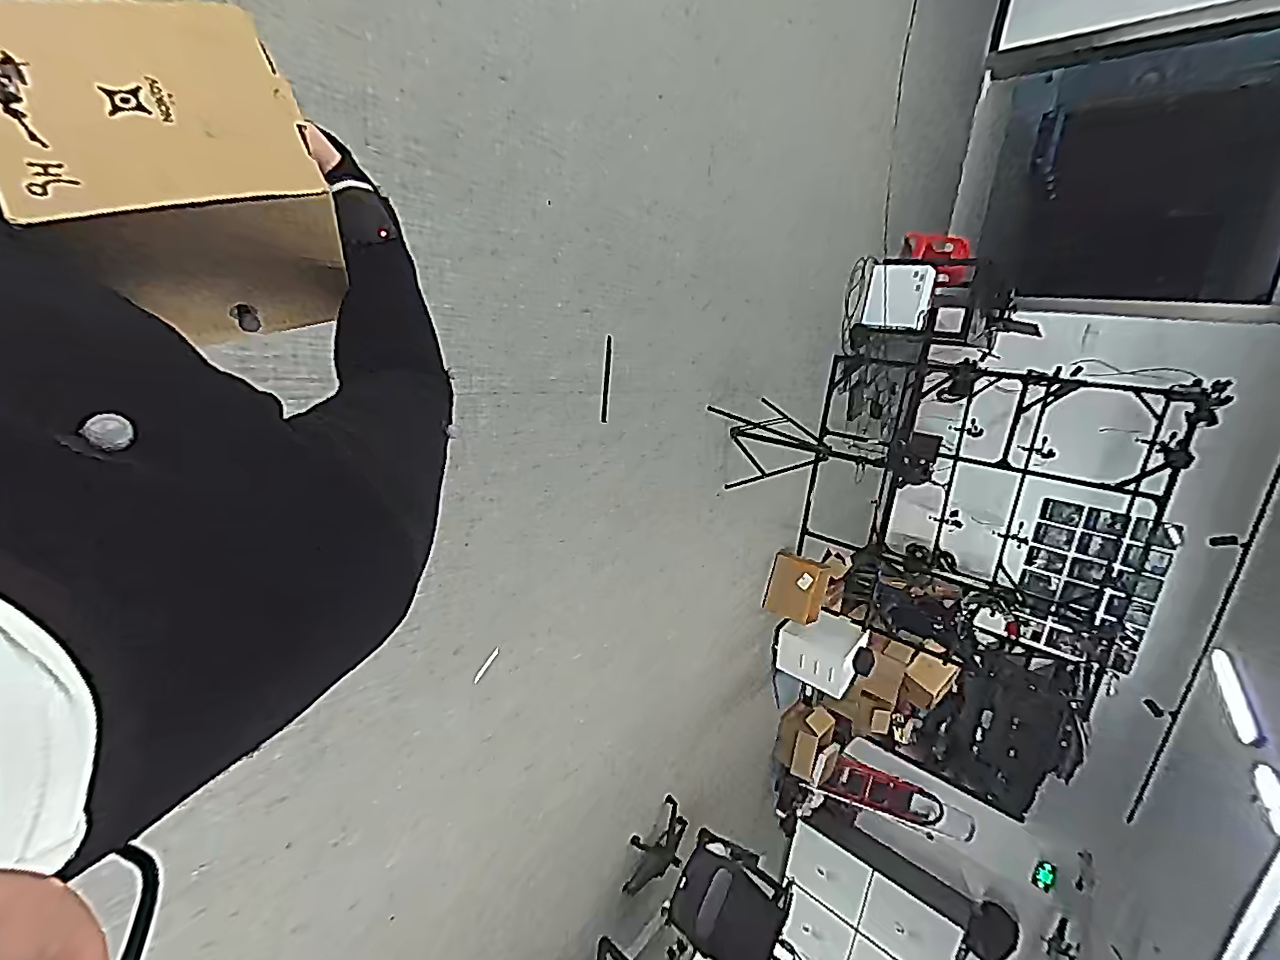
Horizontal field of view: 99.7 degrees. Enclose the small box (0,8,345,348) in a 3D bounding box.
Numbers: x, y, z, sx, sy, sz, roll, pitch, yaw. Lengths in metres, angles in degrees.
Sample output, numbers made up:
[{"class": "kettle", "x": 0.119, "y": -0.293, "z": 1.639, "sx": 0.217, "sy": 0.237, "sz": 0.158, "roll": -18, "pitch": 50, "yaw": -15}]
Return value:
[{"class": "small box", "x": -0.365, "y": -0.235, "z": 0.449, "sx": 0.179, "sy": 0.176, "sz": 0.168, "roll": -23, "pitch": 83, "yaw": -27}]
